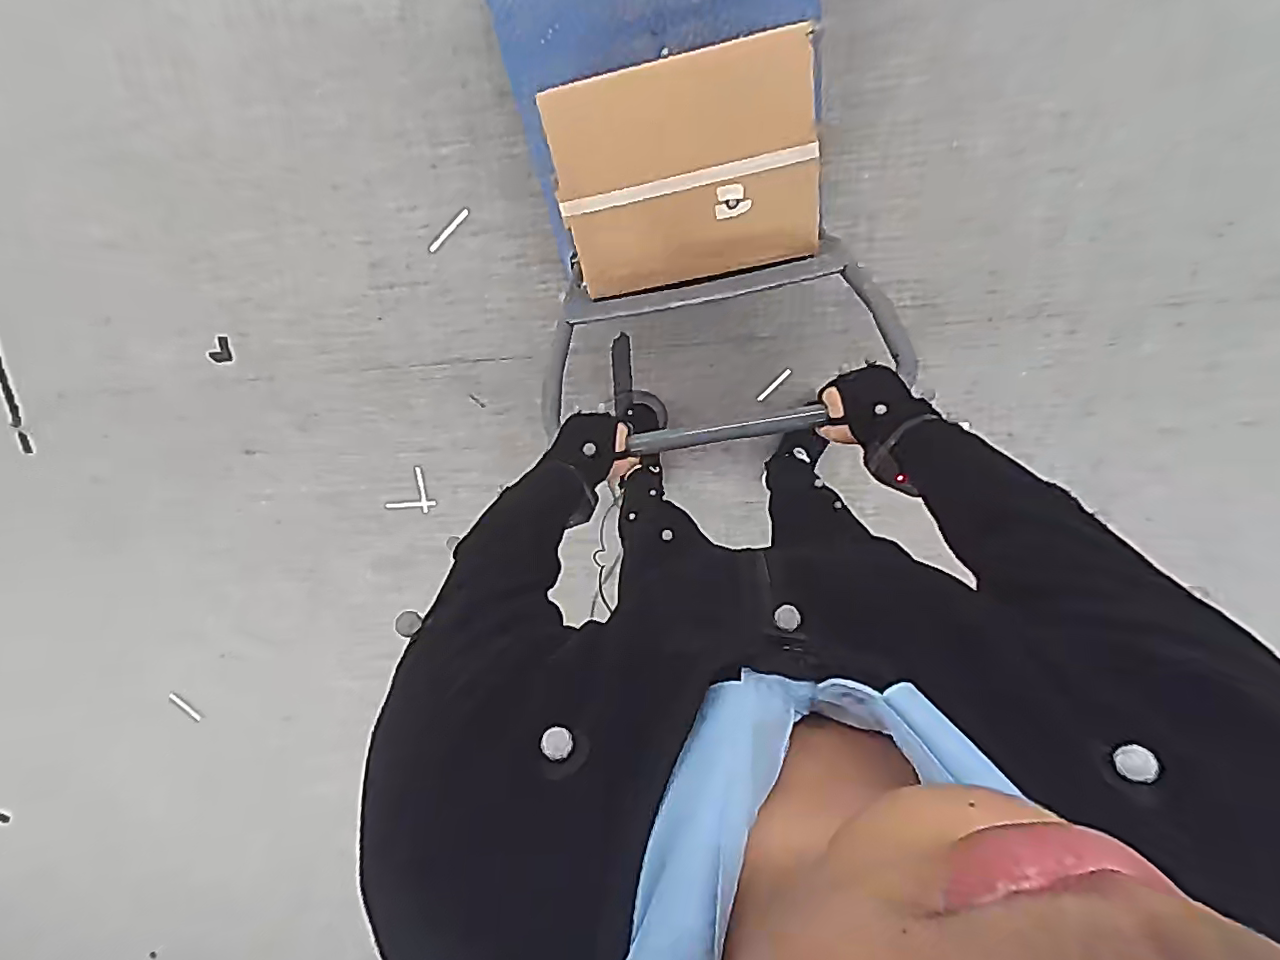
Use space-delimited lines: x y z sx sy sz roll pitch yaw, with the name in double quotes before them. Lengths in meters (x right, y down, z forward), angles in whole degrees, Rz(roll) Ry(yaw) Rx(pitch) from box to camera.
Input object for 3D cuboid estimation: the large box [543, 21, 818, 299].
"large box" 0.078 -0.572 0.993 0.408 0.320 0.320 -11 126 8
